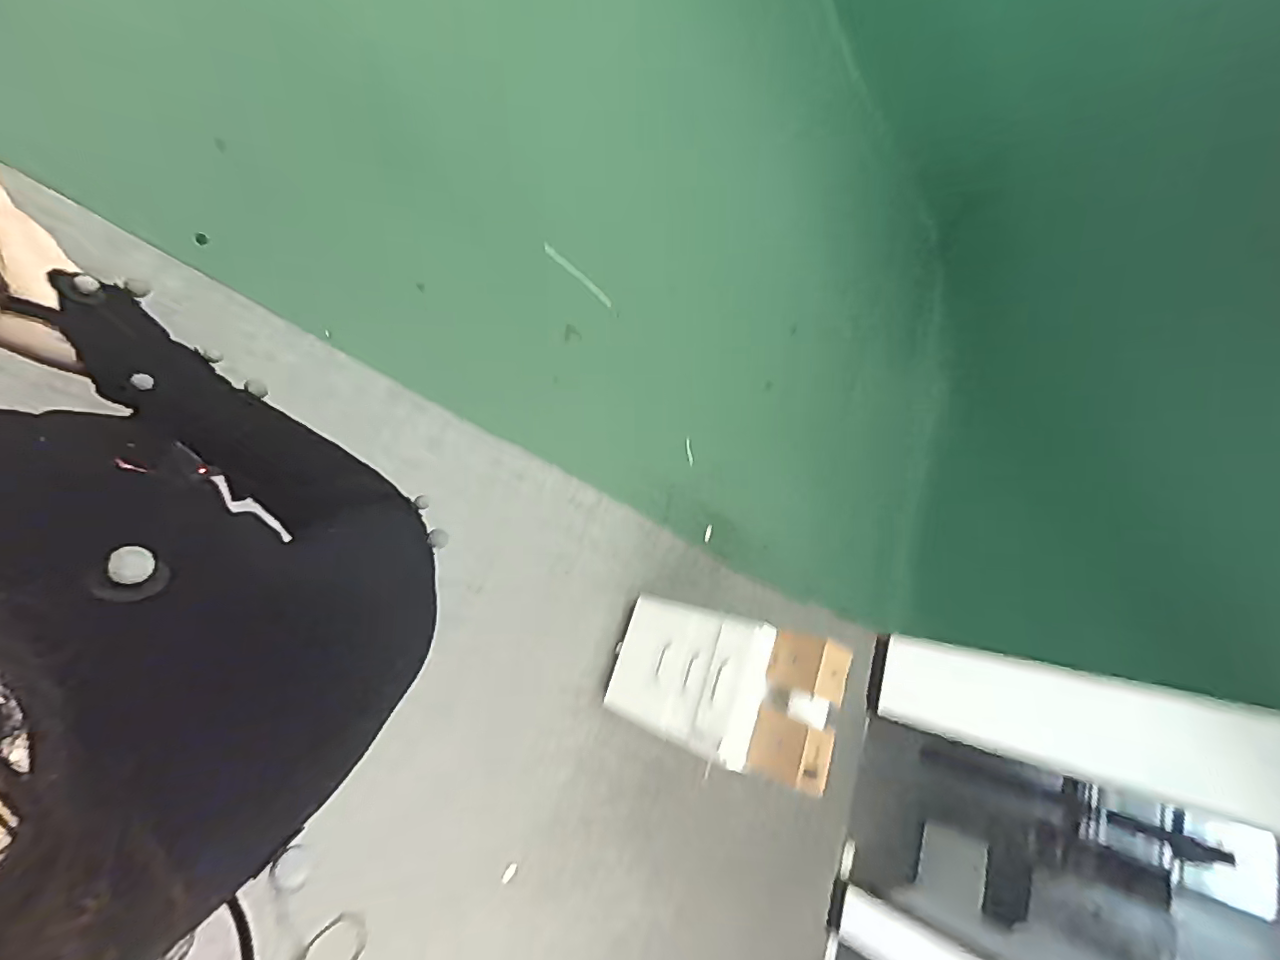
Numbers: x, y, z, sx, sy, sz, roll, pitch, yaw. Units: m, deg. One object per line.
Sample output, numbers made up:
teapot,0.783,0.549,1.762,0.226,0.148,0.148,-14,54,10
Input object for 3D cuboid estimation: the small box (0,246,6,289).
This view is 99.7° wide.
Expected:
small box,-0.473,-0.185,0.271,0.179,0.176,0.168,-19,104,-43

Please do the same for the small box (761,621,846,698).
small box,0.496,0.542,1.648,0.179,0.176,0.168,33,70,-38
